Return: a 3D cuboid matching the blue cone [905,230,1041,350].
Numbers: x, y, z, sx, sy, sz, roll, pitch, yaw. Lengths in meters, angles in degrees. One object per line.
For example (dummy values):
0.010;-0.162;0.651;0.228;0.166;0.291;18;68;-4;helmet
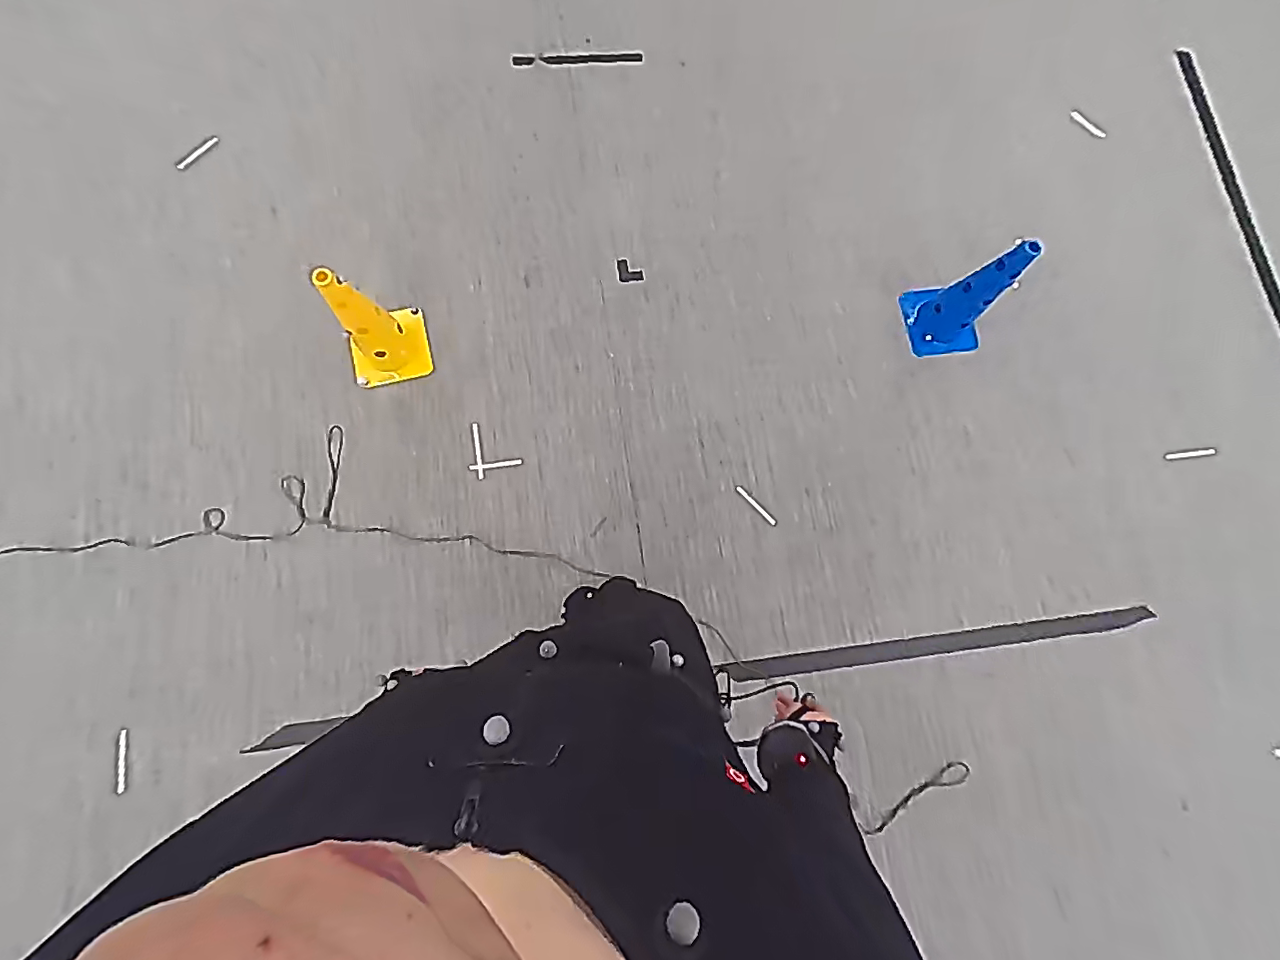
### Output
0.872;-0.496;1.384;0.193;0.380;0.192;-6;79;-4;blue cone
